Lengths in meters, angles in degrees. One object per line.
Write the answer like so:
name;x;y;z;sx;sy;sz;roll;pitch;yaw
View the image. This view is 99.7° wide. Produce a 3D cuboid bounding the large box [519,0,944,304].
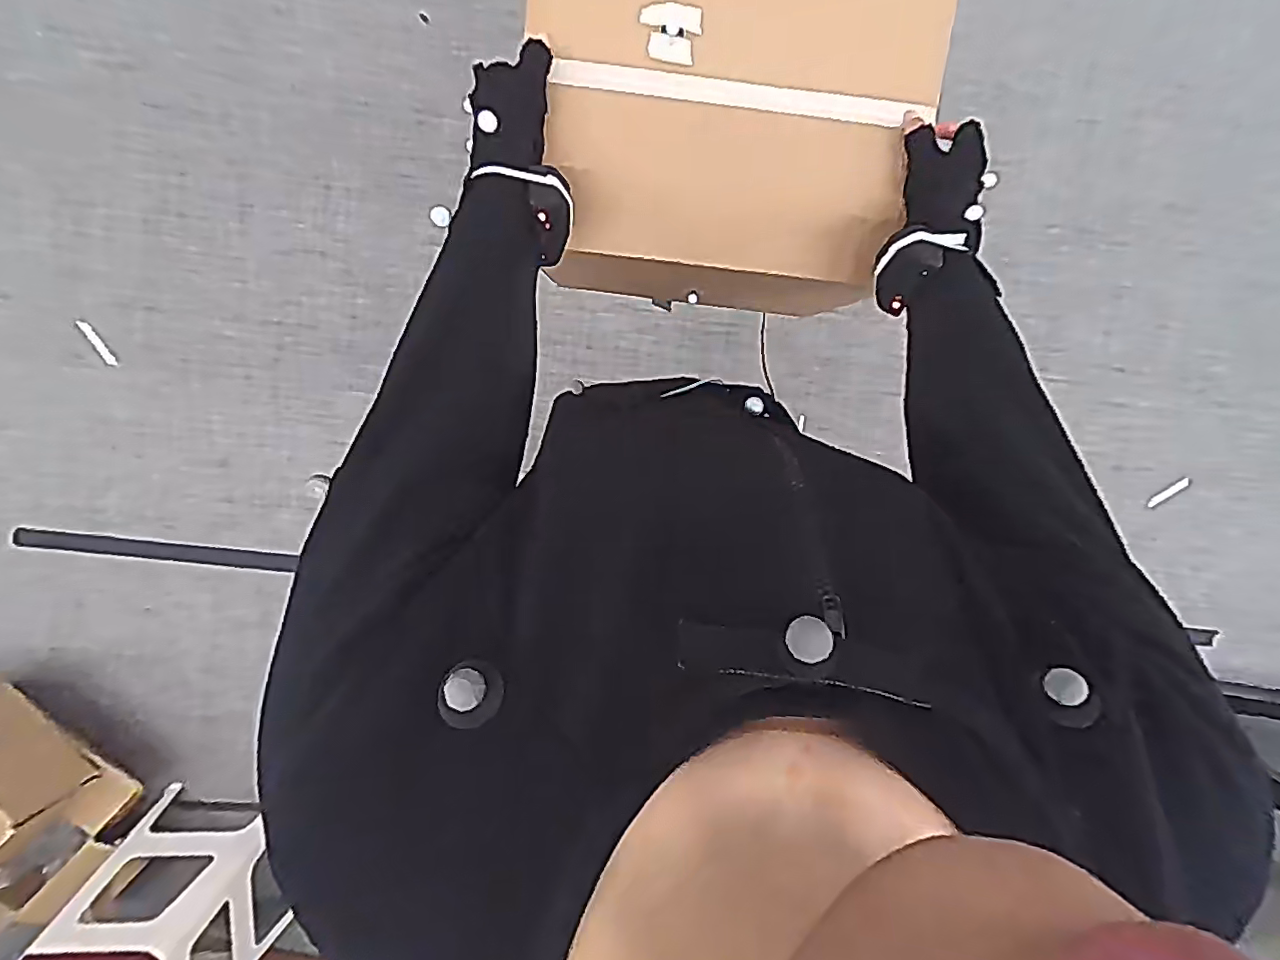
large box;0.086;-0.411;0.681;0.408;0.320;0.320;6;101;-2
